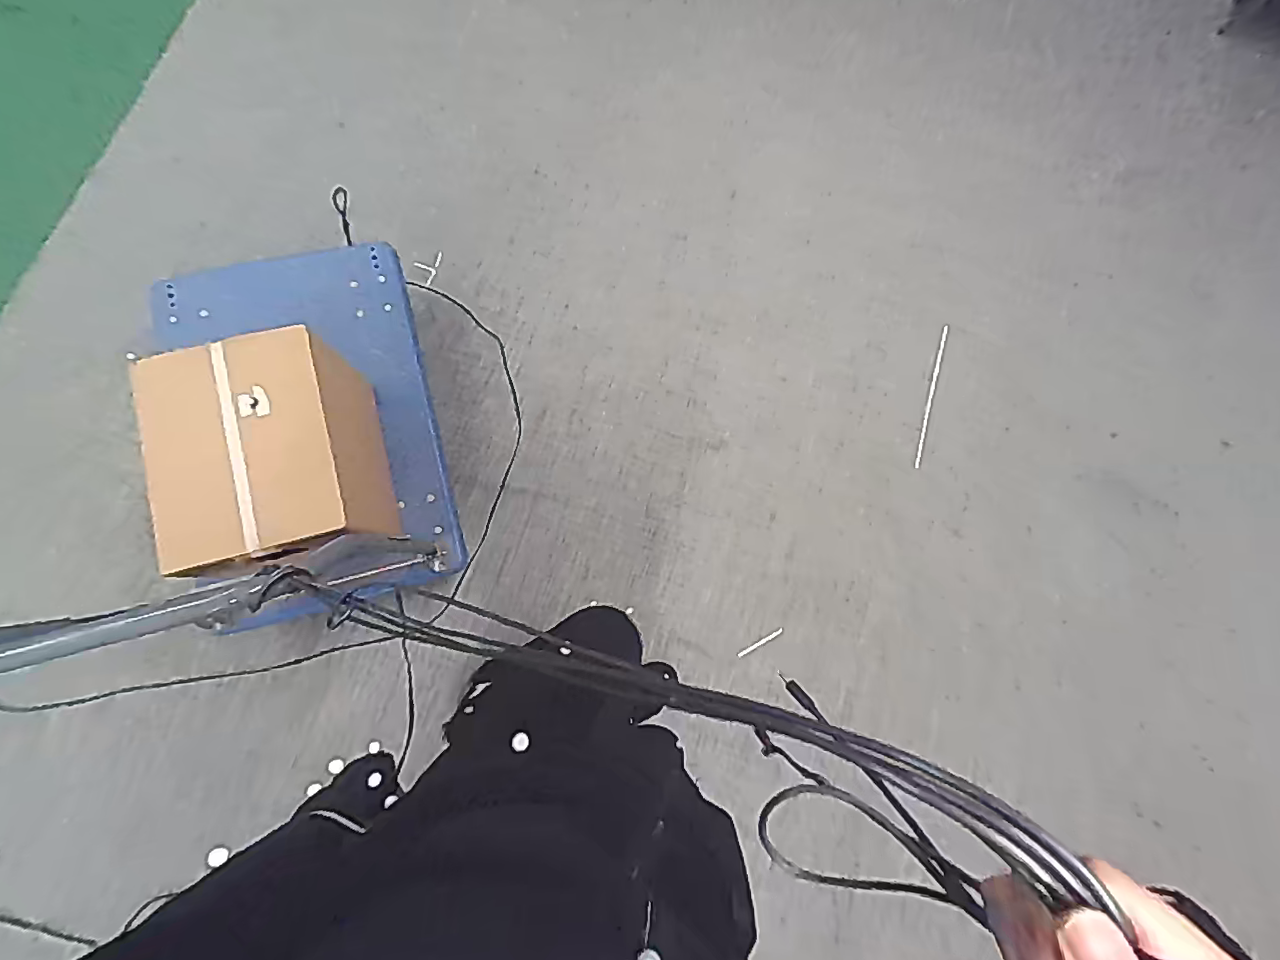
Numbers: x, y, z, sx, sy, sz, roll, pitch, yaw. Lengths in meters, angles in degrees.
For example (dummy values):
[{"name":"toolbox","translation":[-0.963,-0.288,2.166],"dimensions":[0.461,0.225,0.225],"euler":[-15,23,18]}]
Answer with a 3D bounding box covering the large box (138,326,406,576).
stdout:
[{"name":"large box","translation":[-0.730,-0.039,1.123],"dimensions":[0.320,0.320,0.408],"euler":[-15,80,-8]}]
